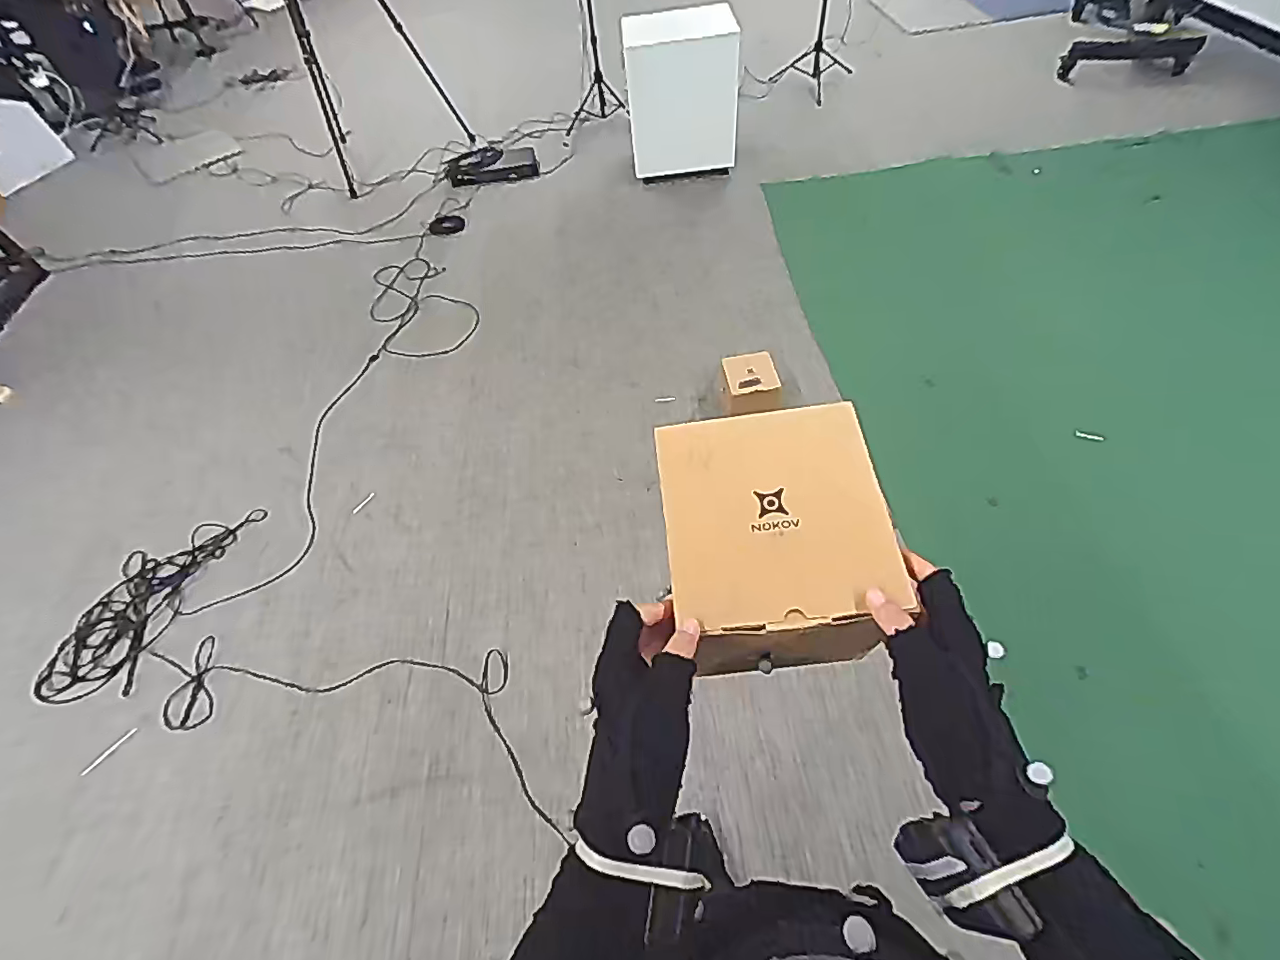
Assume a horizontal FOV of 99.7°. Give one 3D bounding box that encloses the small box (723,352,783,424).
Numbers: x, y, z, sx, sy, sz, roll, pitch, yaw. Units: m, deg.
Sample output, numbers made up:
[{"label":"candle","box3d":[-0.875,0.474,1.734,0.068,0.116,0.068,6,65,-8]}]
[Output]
[{"label":"small box","box3d":[0.381,-0.306,1.842,0.168,0.176,0.179,-8,55,1]}]
